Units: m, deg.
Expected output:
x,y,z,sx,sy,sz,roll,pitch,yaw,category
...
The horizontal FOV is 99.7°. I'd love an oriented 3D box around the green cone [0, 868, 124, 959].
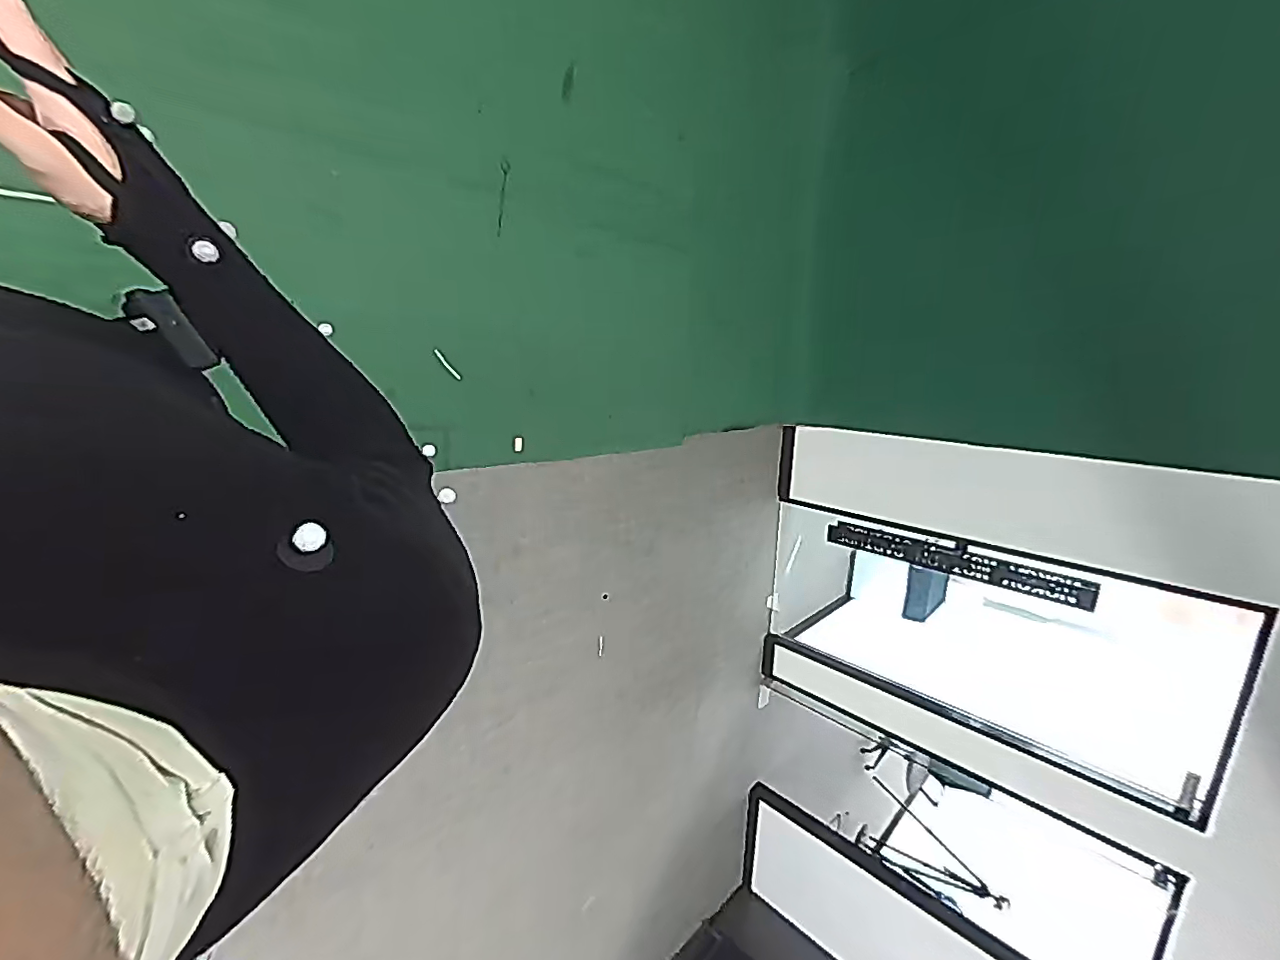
x,y,z,sx,sy,sz,roll,pitch,yaw,category
-1.228,1.060,1.136,0.202,0.368,0.200,-9,106,-43,green cone
